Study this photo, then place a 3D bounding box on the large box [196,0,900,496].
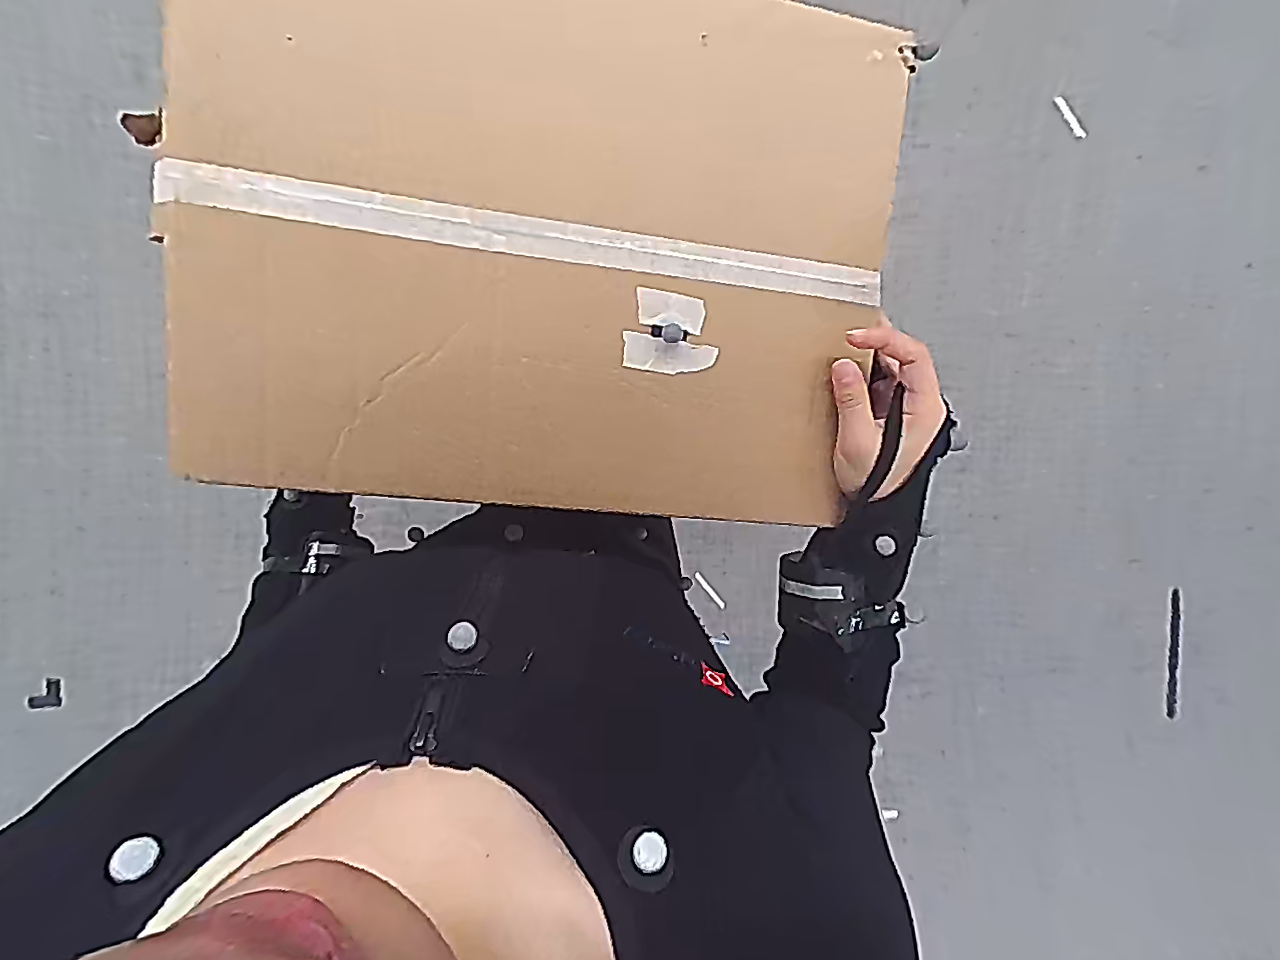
[{"bbox_3d":[-0.068,-0.170,0.467,0.408,0.320,0.320,4,97,-12],"label":"large box"}]
